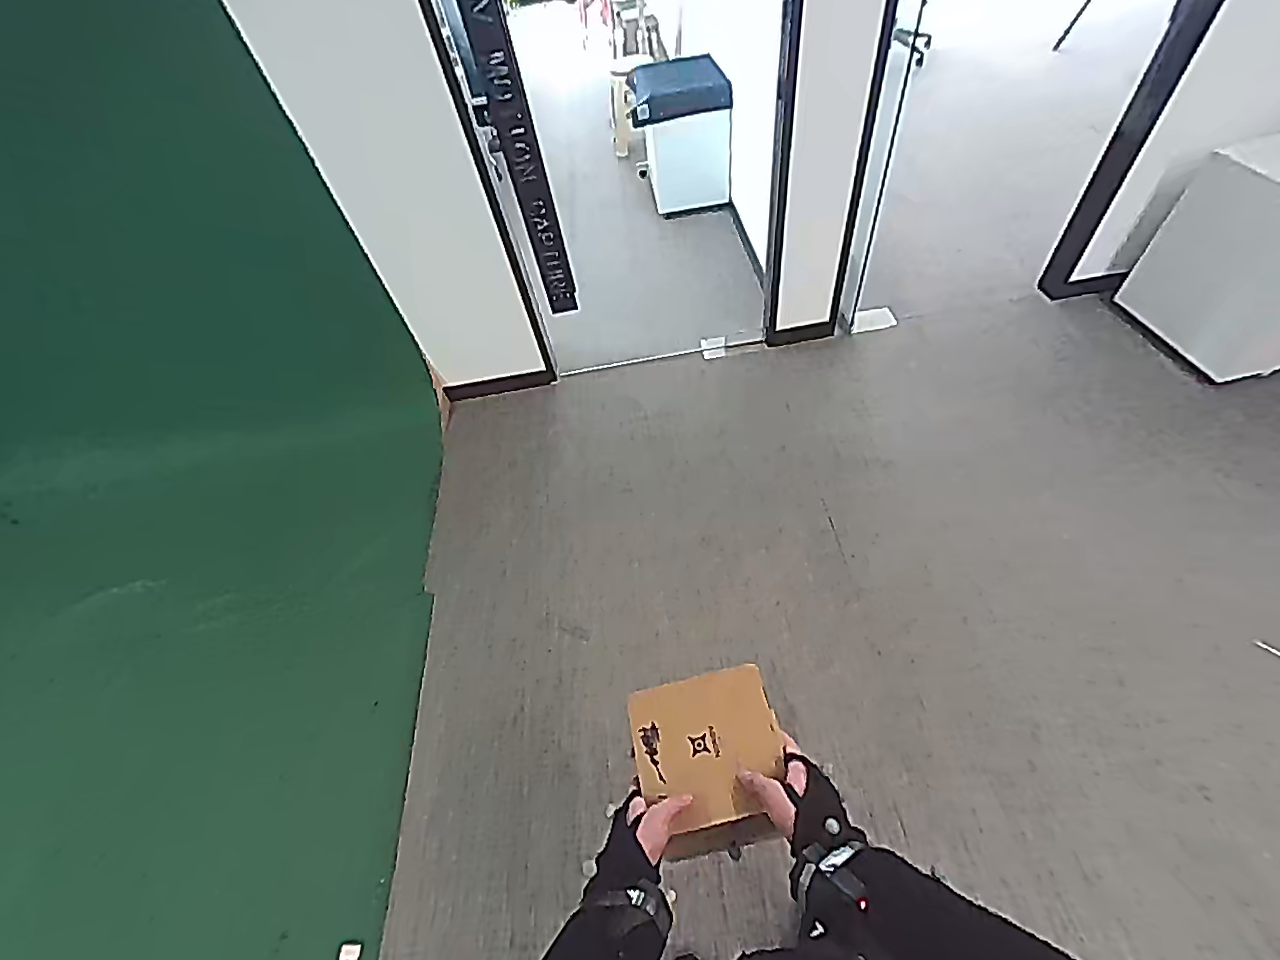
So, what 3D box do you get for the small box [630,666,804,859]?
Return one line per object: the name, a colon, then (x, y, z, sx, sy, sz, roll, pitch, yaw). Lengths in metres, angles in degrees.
small box: (0.095, 0.368, 0.701, 0.179, 0.176, 0.168, -14, 47, 0)
